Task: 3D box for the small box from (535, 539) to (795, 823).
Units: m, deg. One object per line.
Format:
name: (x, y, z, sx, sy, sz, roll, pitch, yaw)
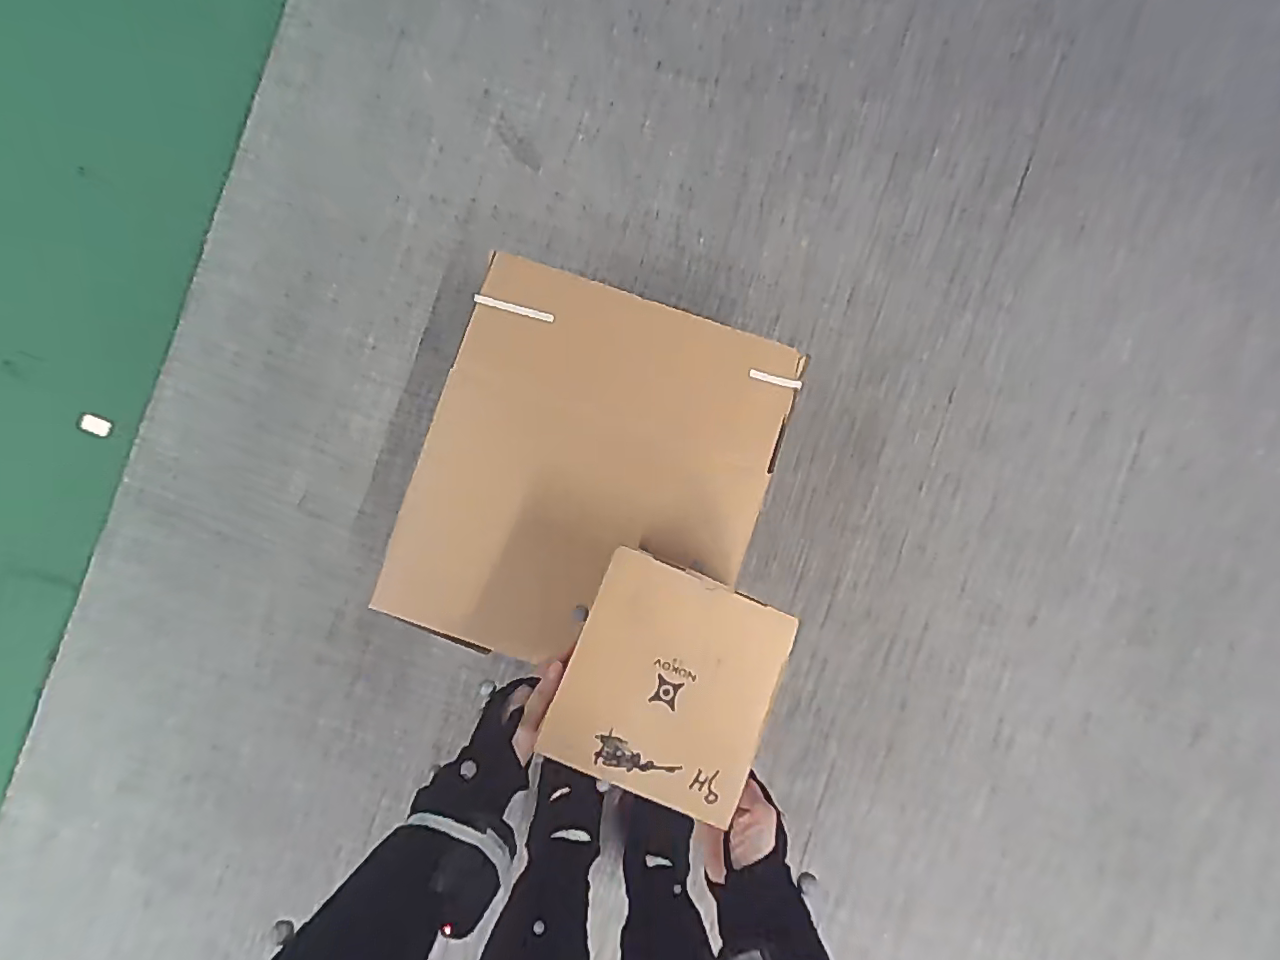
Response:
small box: (0.016, 0.171, 0.515, 0.168, 0.176, 0.179, 24, 80, 0)
